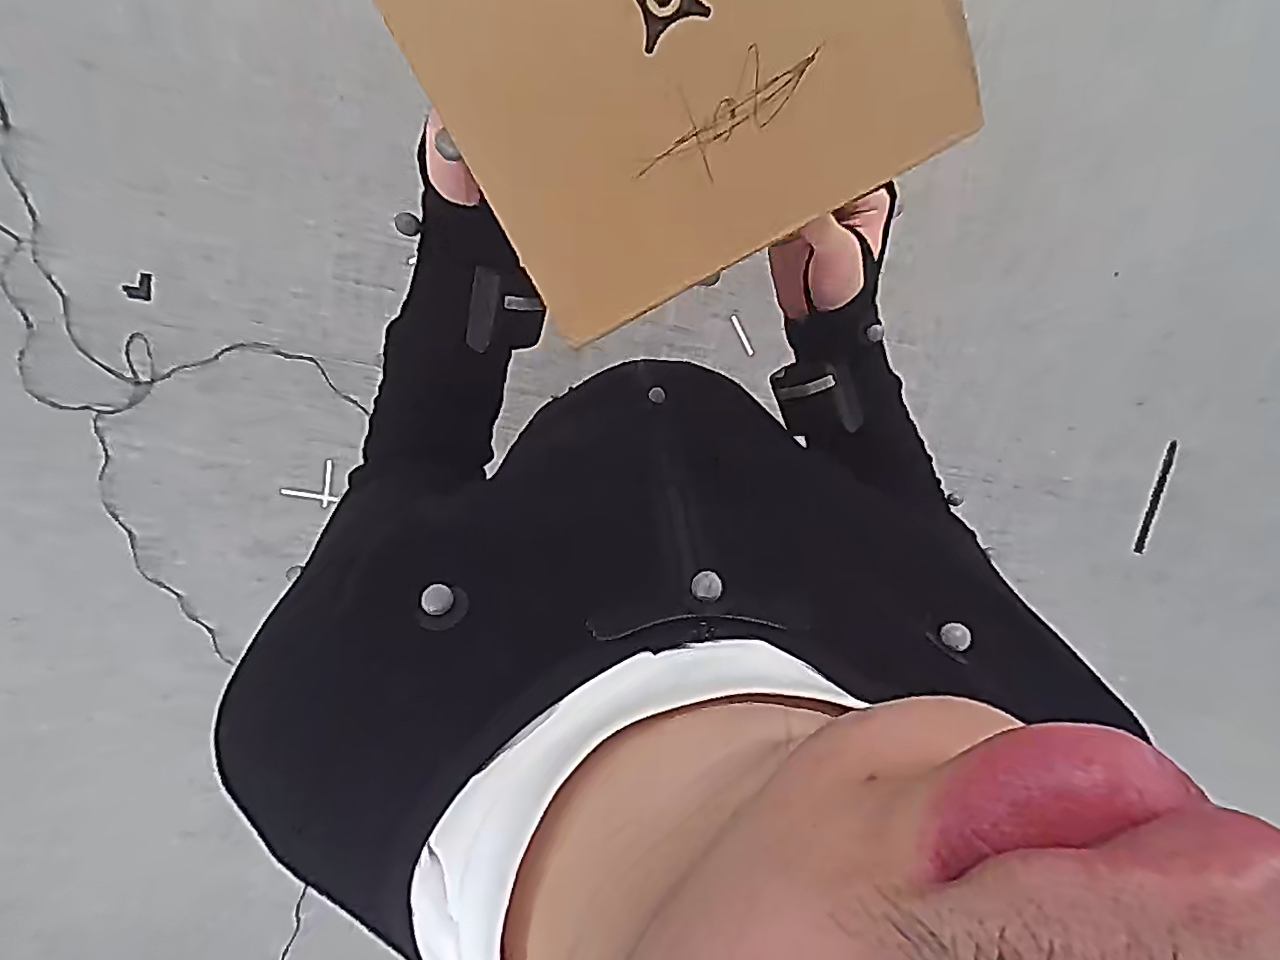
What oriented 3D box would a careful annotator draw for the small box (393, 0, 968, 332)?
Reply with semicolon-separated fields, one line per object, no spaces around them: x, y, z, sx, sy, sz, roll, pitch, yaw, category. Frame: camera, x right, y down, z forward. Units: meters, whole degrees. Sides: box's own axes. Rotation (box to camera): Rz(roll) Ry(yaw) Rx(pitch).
0.008;-0.196;0.254;0.168;0.176;0.179;-26;112;13;small box
